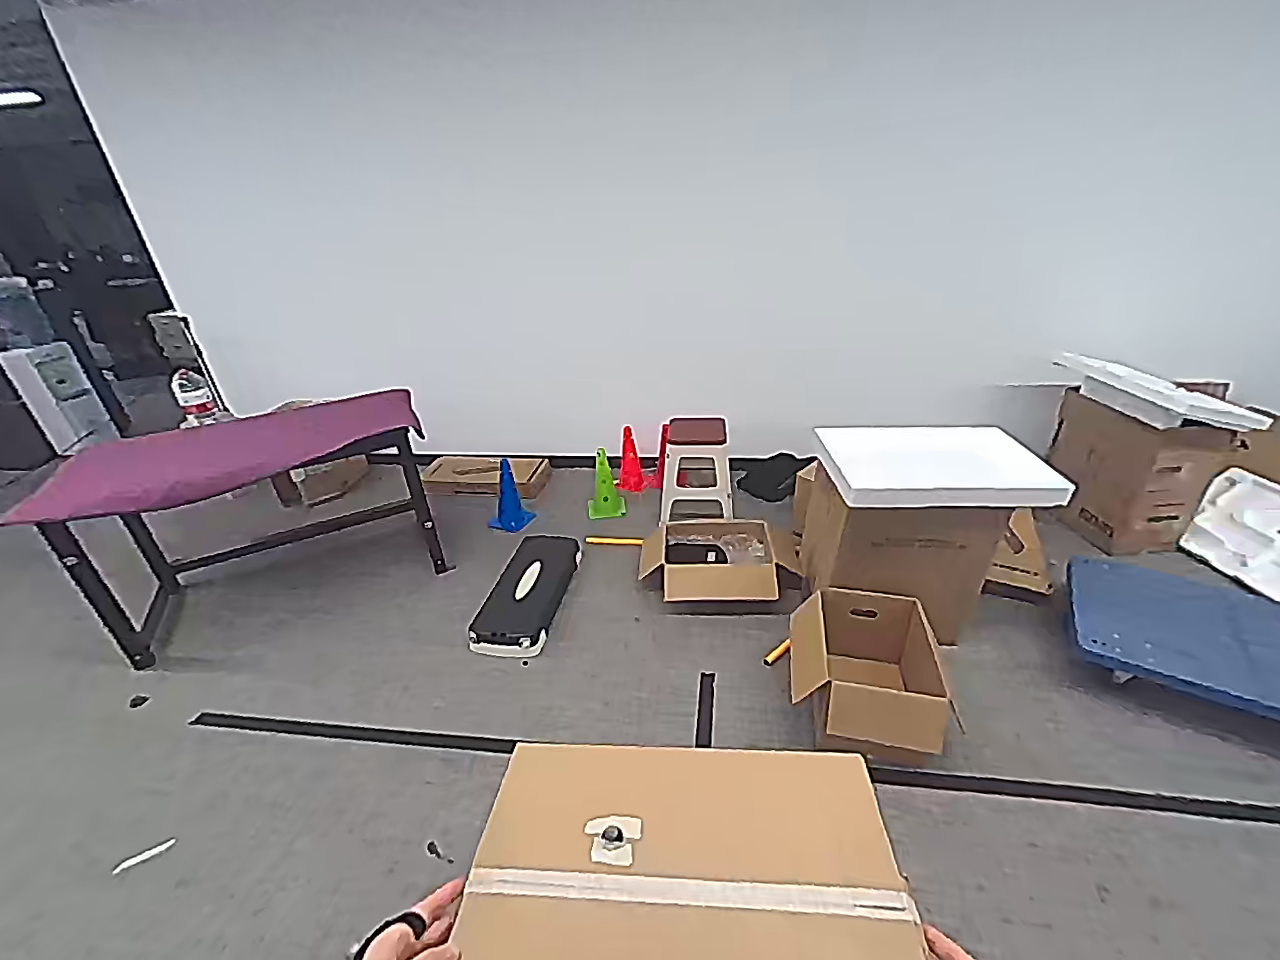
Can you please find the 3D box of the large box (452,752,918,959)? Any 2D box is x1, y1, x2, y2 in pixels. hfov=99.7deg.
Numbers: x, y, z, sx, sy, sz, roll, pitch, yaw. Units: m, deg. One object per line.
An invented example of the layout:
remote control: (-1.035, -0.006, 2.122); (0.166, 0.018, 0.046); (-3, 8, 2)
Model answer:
large box: (0.052, 0.524, 0.564); (0.408, 0.320, 0.320); (-3, 23, 7)
